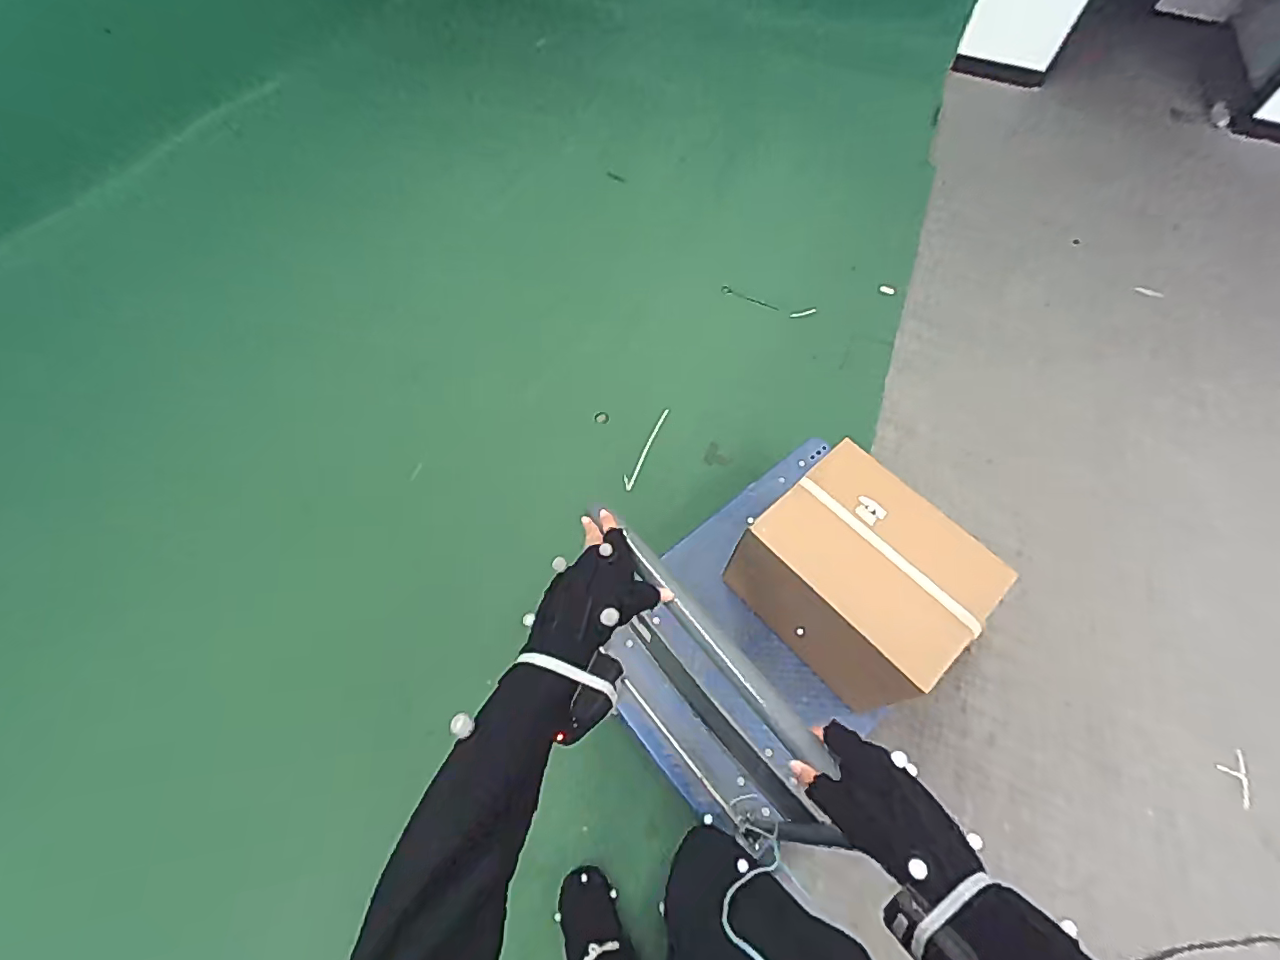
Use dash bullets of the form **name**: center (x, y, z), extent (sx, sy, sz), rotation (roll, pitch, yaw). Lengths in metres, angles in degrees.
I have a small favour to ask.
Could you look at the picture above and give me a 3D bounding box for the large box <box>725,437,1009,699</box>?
- **large box**: center (0.447, 0.194, 1.157), extent (0.320, 0.320, 0.408), rotation (-39, 68, -20)
